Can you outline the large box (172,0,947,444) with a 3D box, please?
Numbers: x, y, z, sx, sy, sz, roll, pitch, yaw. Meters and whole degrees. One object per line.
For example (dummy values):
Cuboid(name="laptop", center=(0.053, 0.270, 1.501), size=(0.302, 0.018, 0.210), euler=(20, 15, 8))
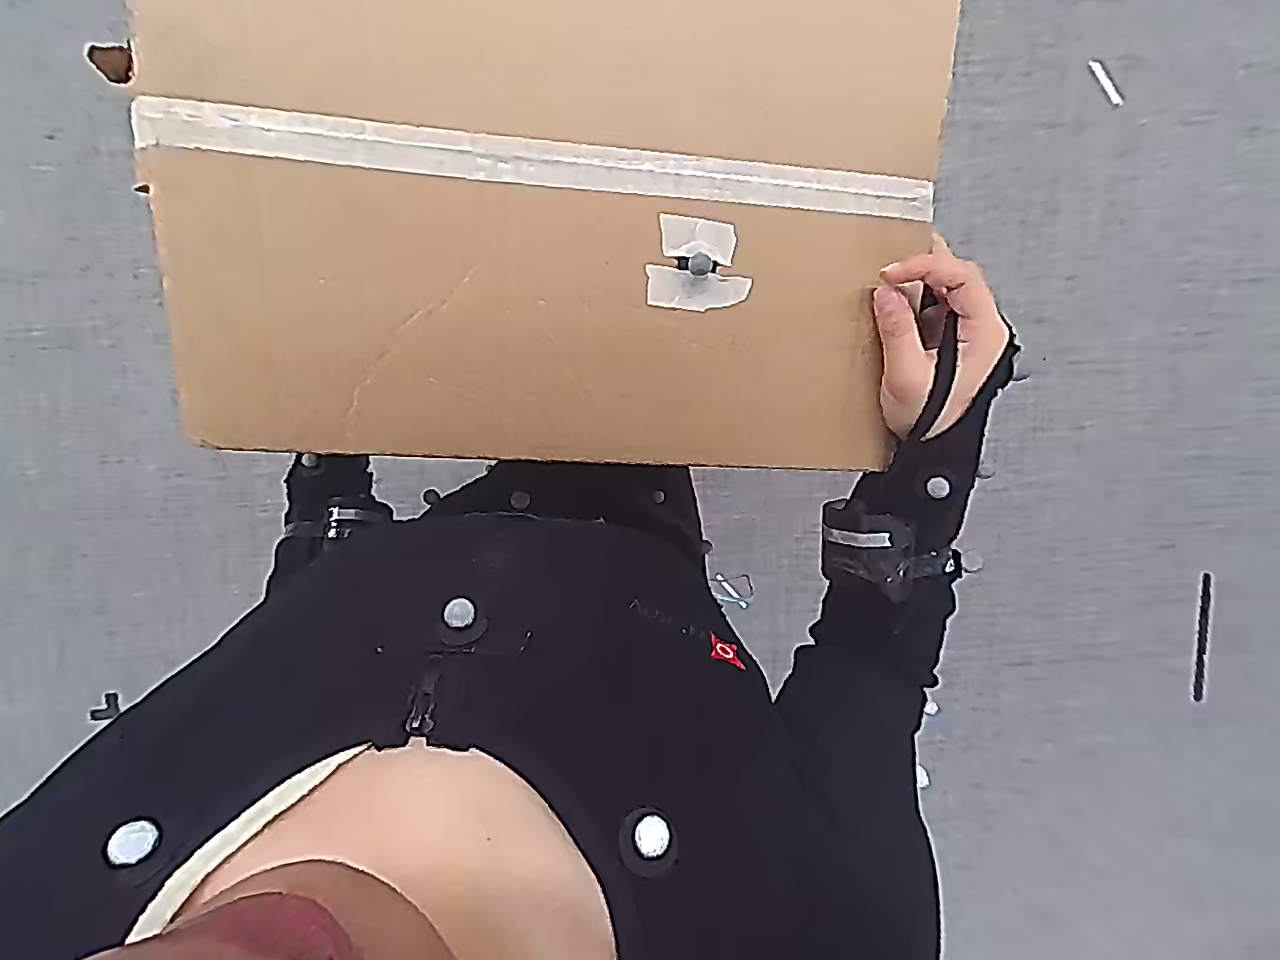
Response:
Cuboid(name="large box", center=(-0.052, -0.204, 0.437), size=(0.408, 0.320, 0.320), euler=(1, 102, -9))
